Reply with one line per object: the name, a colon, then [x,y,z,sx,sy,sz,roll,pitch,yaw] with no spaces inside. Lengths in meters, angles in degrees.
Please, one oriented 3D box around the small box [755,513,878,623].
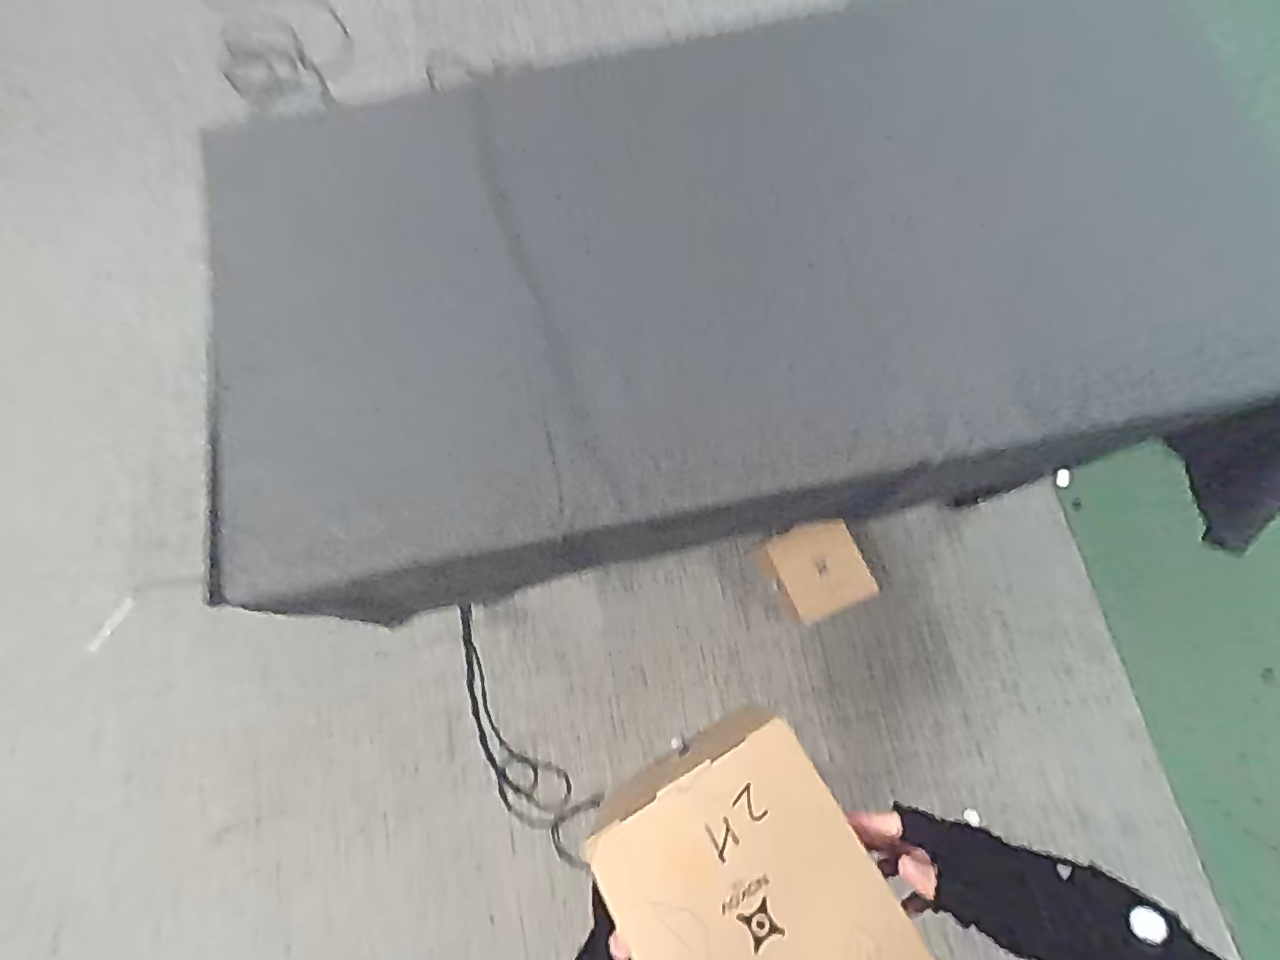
small box: [0.359,0.193,1.142,0.168,0.176,0.179,-23,75,-2]
